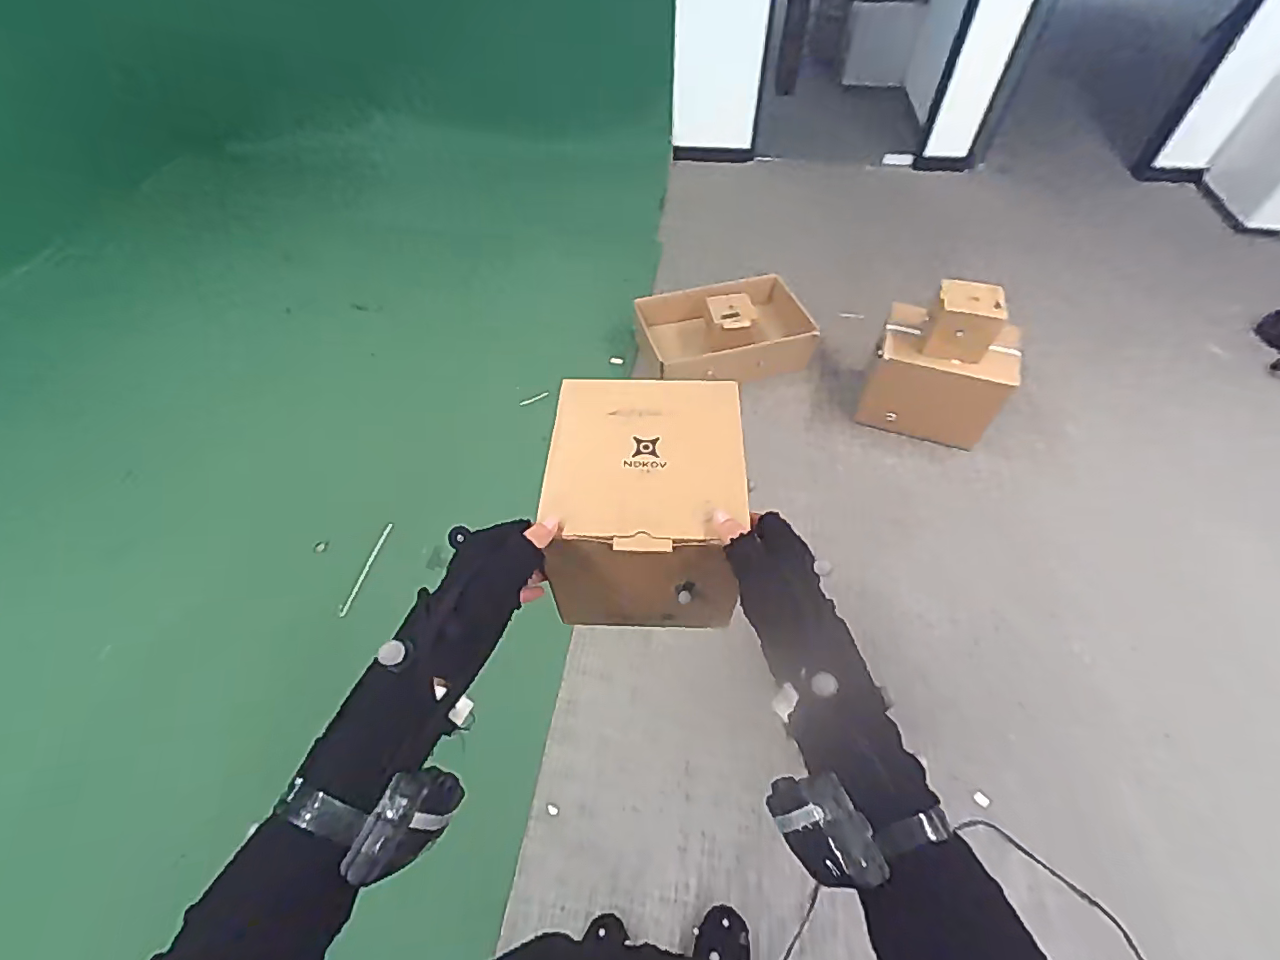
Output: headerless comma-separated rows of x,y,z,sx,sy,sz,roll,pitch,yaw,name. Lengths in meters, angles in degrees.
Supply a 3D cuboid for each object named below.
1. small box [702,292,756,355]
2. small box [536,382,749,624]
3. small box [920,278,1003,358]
0.339,-0.598,2.089,0.168,0.176,0.179,-7,52,-3,small box
0.007,0.026,0.519,0.168,0.176,0.179,1,52,2,small box
0.981,-0.498,1.669,0.179,0.176,0.168,12,55,10,small box
